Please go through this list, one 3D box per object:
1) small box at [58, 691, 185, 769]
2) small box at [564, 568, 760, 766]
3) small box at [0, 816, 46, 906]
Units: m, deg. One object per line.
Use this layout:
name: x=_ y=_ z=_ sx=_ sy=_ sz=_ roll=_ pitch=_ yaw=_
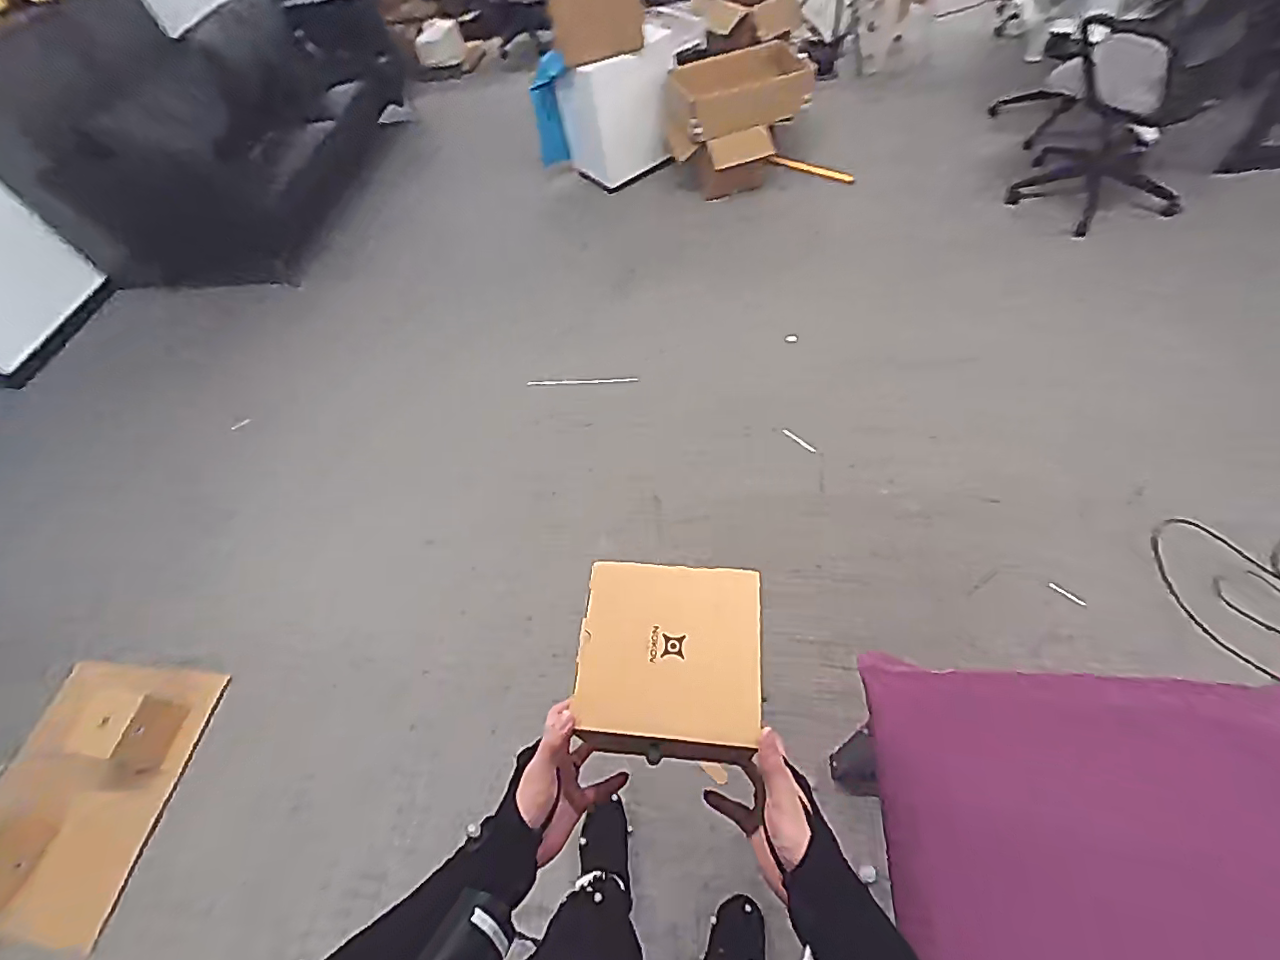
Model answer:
small box: x=-1.500 y=0.734 z=1.581 sx=0.168 sy=0.176 sz=0.179 roll=2 pitch=57 yaw=11
small box: x=0.031 y=0.207 z=0.584 sx=0.179 sy=0.176 sz=0.168 roll=1 pitch=58 yaw=7
small box: x=-1.759 y=1.009 z=1.434 sx=0.168 sy=0.176 sz=0.179 roll=8 pitch=58 yaw=15
